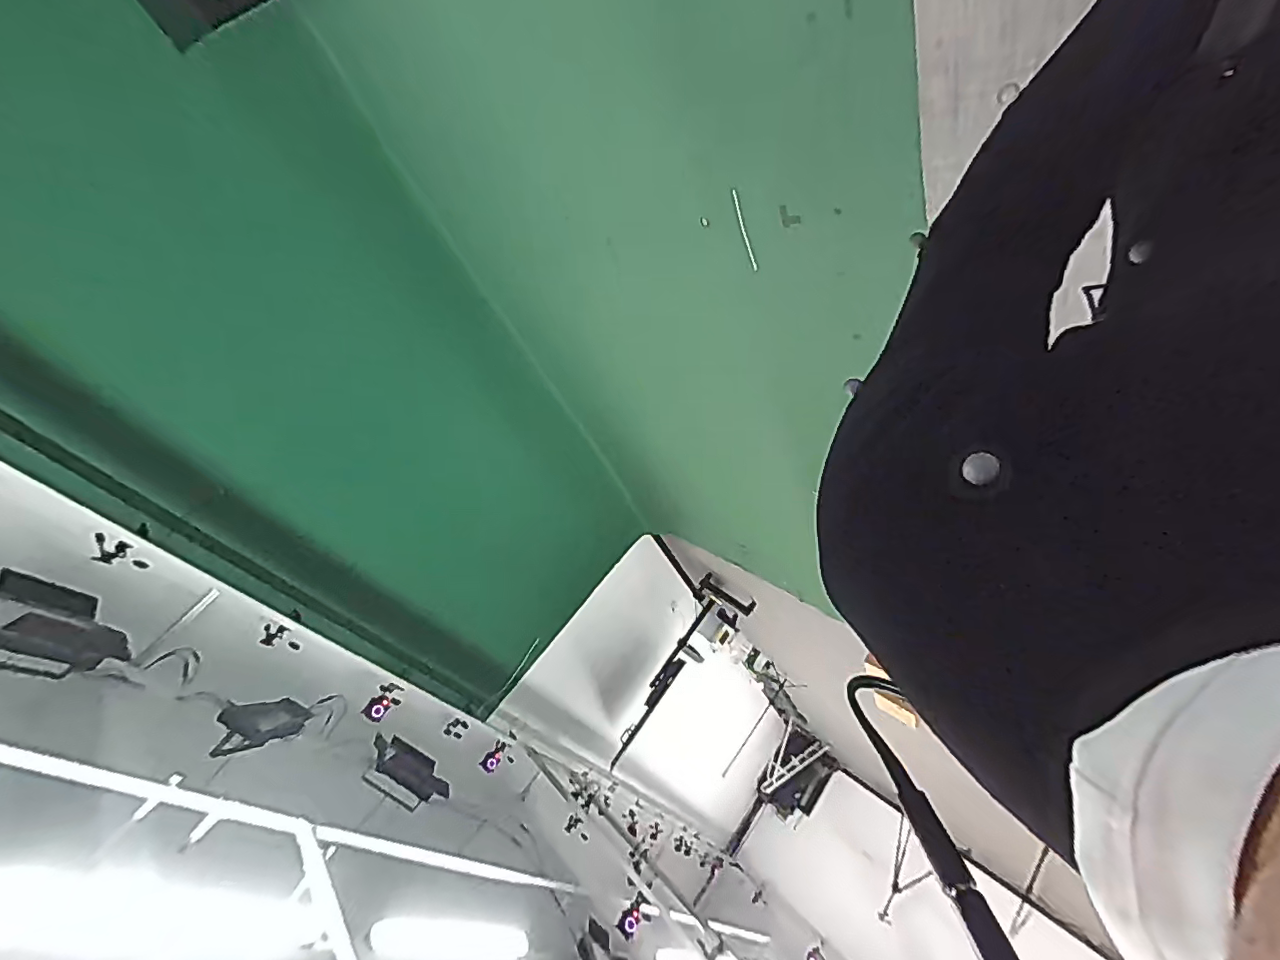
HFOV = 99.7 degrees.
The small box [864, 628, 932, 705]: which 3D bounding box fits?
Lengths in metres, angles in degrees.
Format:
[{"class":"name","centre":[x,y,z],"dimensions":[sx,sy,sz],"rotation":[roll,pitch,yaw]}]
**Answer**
[{"class":"small box","centre":[0.932,0.667,1.944],"dimensions":[0.168,0.176,0.179],"rotation":[23,155,41]}]

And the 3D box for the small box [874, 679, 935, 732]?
[{"class":"small box","centre":[1.059,0.863,2.159],"dimensions":[0.168,0.176,0.179],"rotation":[24,156,42]}]
